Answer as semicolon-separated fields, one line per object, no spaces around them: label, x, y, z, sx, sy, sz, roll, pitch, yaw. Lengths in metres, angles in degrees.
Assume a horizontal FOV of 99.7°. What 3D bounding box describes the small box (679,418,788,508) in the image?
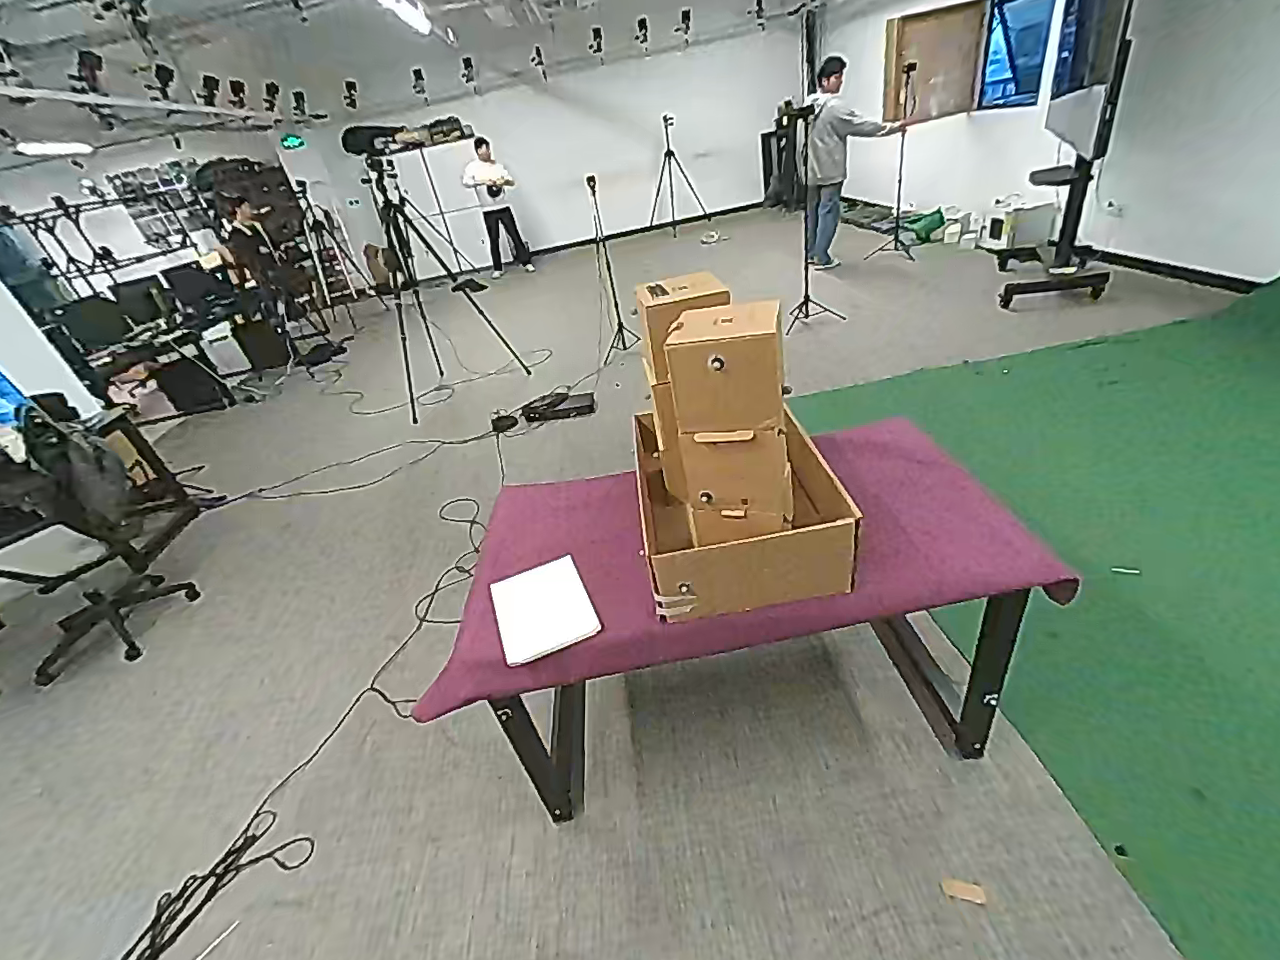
small box;0.186;-0.060;1.023;0.168;0.176;0.179;0;33;21

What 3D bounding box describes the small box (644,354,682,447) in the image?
small box;0.116;-0.194;1.262;0.179;0.176;0.168;-12;34;1

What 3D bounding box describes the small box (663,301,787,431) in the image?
small box;0.155;-0.193;0.934;0.179;0.176;0.168;-1;34;19

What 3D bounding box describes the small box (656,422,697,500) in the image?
small box;0.139;-0.064;1.355;0.168;0.176;0.179;-10;34;3
